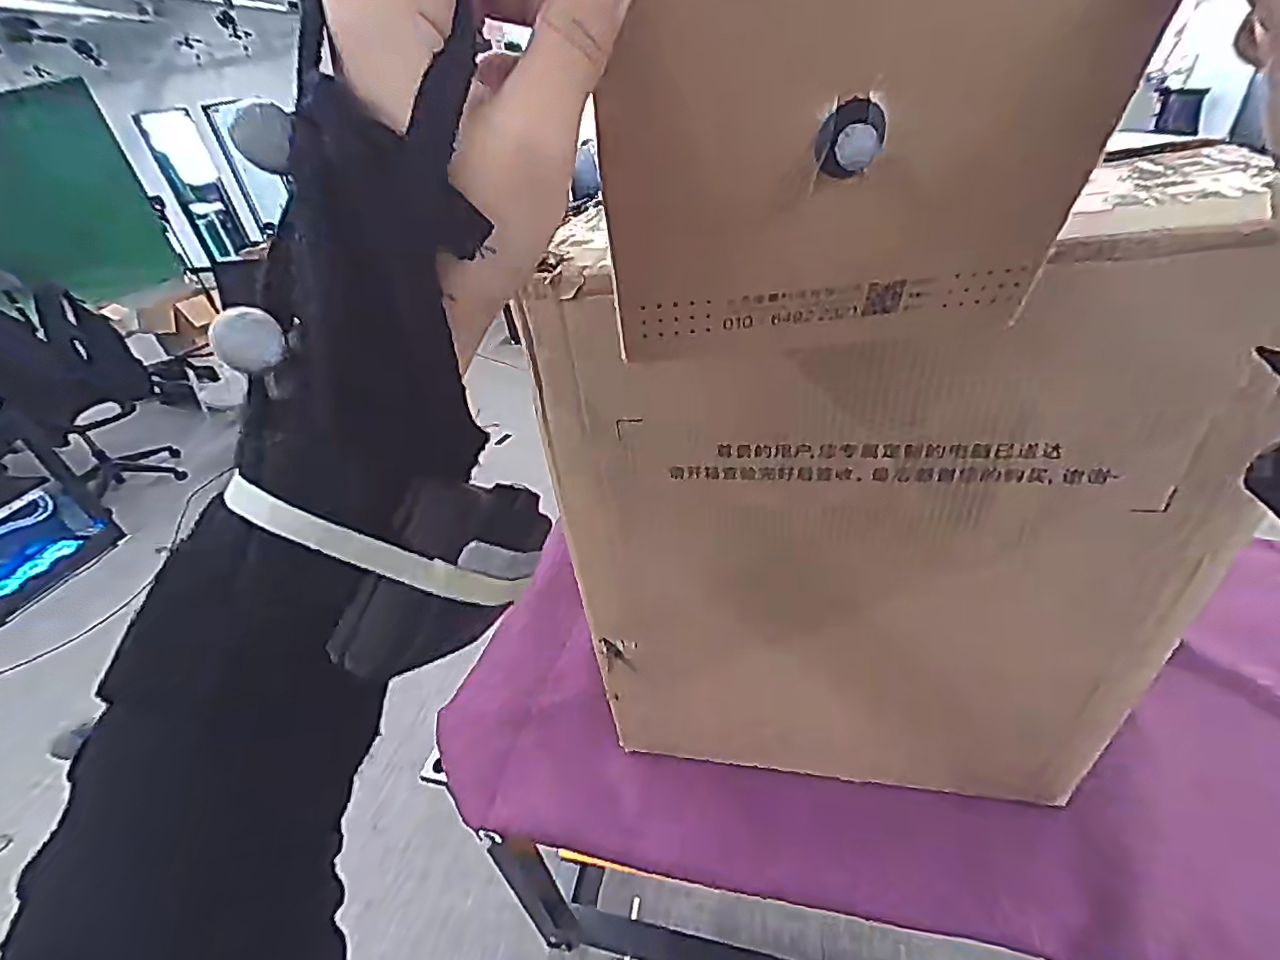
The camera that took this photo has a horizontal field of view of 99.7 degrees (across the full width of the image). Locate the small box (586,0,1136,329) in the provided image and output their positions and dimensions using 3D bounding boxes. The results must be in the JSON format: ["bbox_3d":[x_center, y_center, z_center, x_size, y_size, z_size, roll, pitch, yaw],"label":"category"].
[{"bbox_3d":[0.065,-0.177,0.223,0.168,0.176,0.179,-5,49,0],"label":"small box"}]
